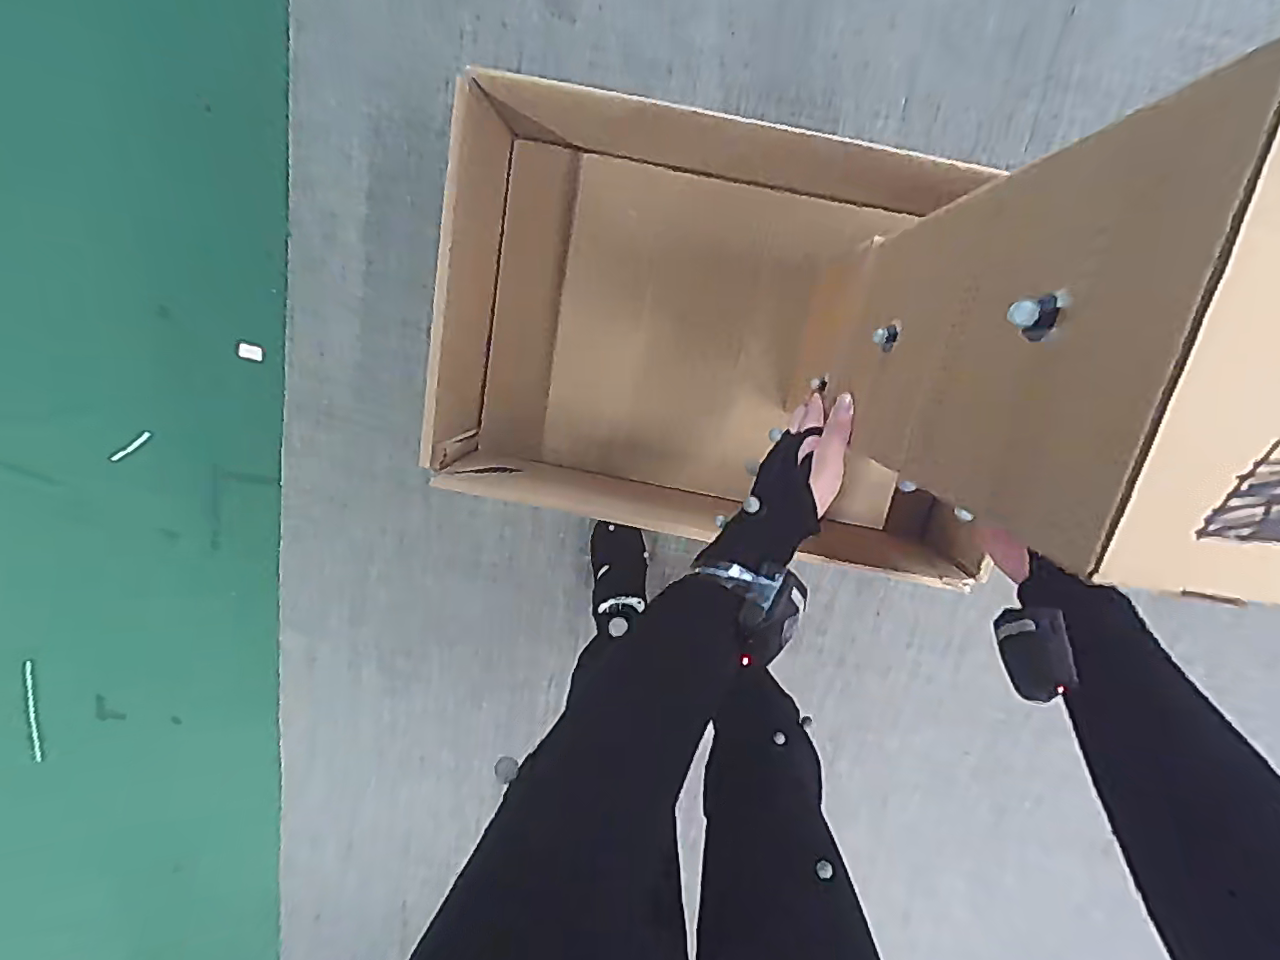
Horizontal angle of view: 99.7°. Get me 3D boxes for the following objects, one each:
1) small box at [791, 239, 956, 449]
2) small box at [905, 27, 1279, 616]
[{"bbox_3d":[0.269,-0.130,0.567,0.168,0.176,0.179,11,104,2],"label":"small box"},{"bbox_3d":[0.251,-0.051,0.250,0.168,0.176,0.179,10,103,0],"label":"small box"}]
